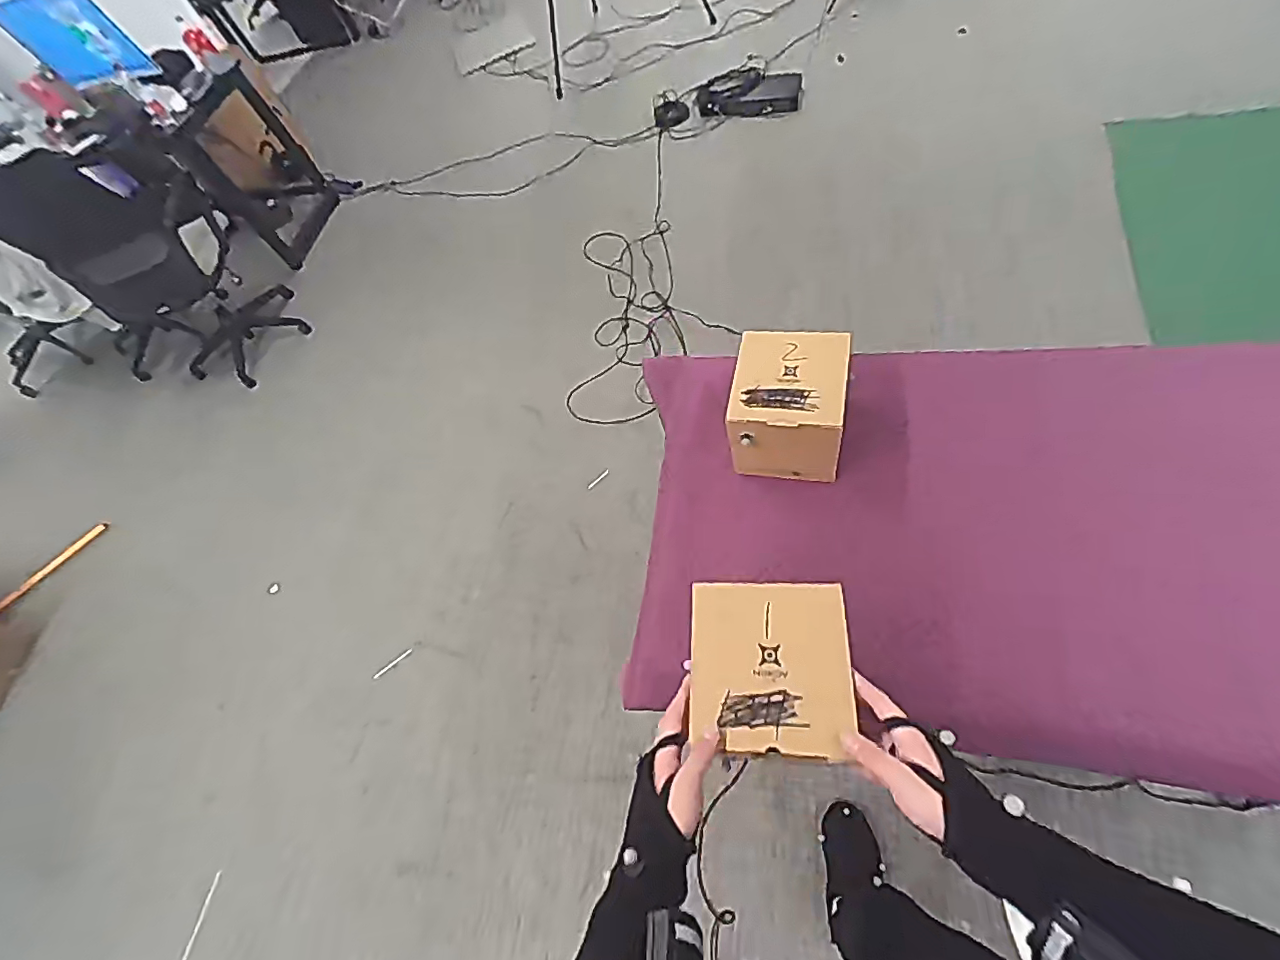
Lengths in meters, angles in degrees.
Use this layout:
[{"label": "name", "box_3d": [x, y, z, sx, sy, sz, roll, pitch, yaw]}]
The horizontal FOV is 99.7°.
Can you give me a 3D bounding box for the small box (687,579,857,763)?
[{"label": "small box", "box_3d": [0.148, 0.227, 0.633, 0.168, 0.176, 0.179, -1, 60, 10]}]
